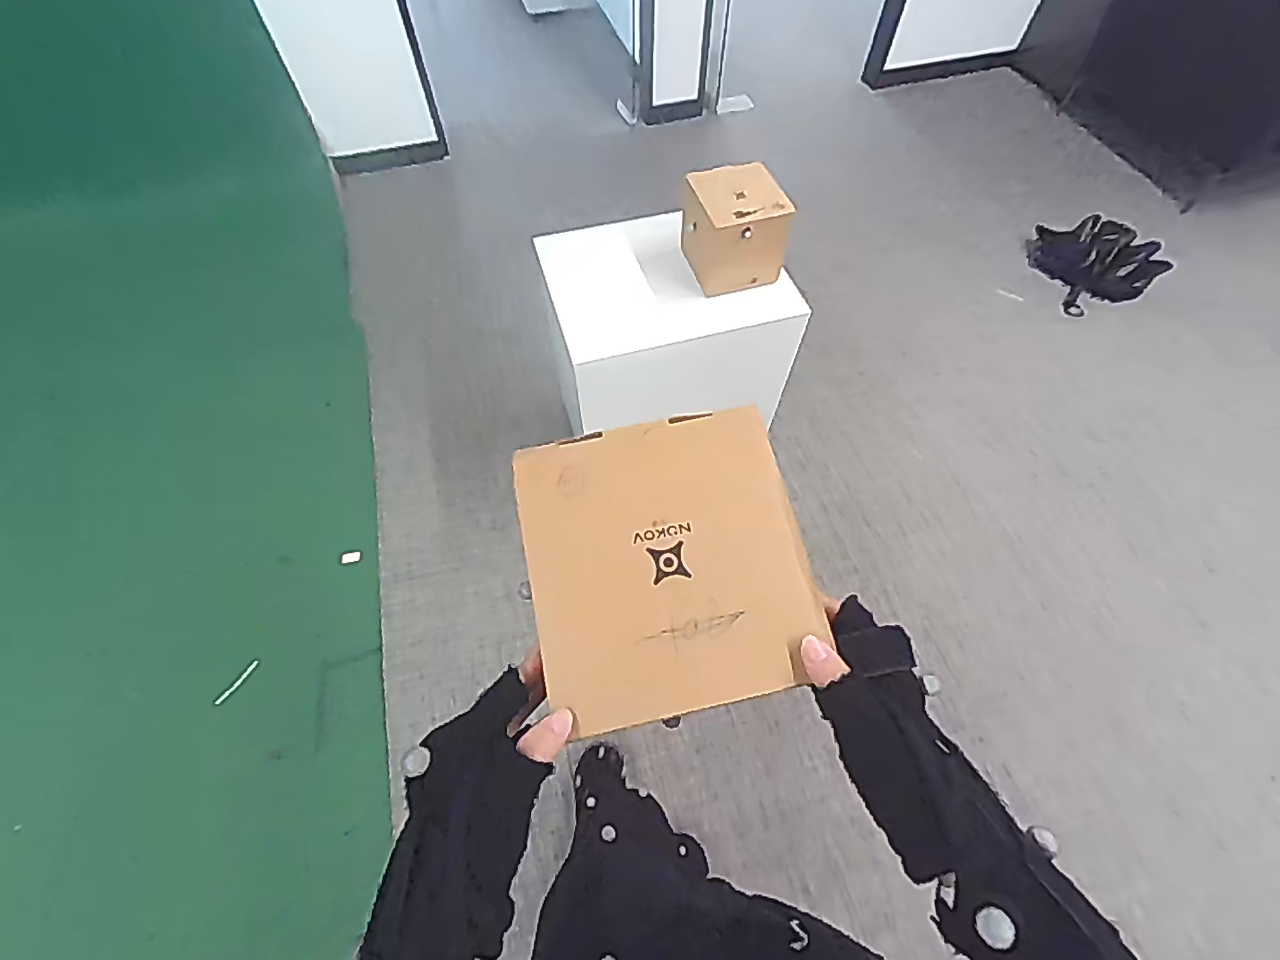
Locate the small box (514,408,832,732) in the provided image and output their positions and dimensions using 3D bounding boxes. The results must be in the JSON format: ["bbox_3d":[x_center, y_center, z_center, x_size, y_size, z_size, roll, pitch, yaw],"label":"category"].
[{"bbox_3d":[0.013,0.072,0.406,0.168,0.176,0.179,-12,72,-4],"label":"small box"}]

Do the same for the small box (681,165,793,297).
[{"bbox_3d":[0.188,-0.511,1.116,0.168,0.176,0.179,-16,61,-7],"label":"small box"}]
